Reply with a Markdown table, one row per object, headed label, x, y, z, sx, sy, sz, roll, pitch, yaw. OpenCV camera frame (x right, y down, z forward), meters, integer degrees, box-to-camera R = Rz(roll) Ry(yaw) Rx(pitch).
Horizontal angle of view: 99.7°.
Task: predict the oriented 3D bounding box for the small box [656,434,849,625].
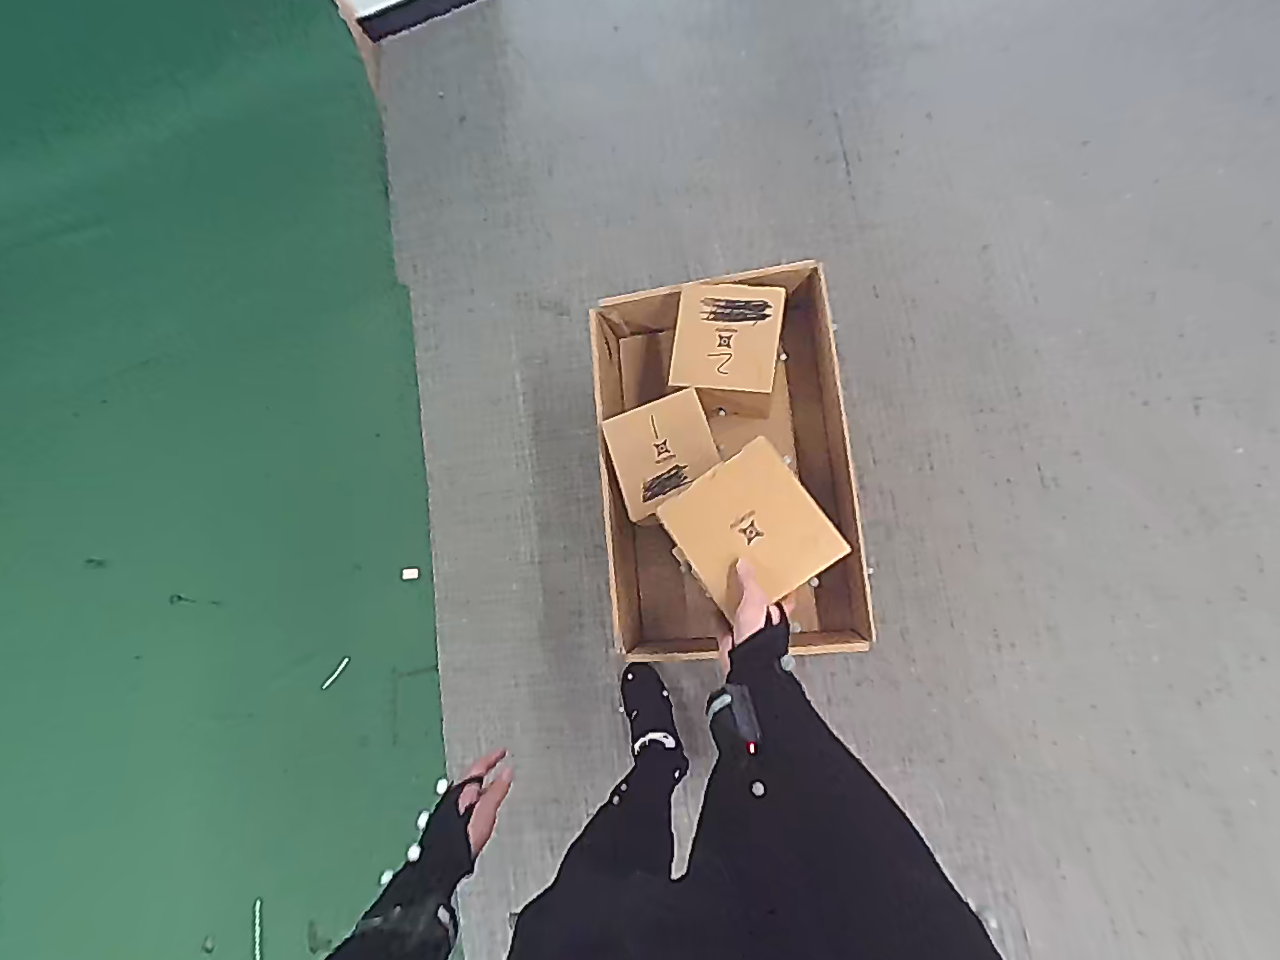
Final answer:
| label | x | y | z | sx | sy | sz | roll | pitch | yaw |
| --- | --- | --- | --- | --- | --- | --- | --- | --- | --- |
| small box | 0.148 | 0.070 | 0.719 | 0.168 | 0.176 | 0.179 | -34 | 73 | 4 |
